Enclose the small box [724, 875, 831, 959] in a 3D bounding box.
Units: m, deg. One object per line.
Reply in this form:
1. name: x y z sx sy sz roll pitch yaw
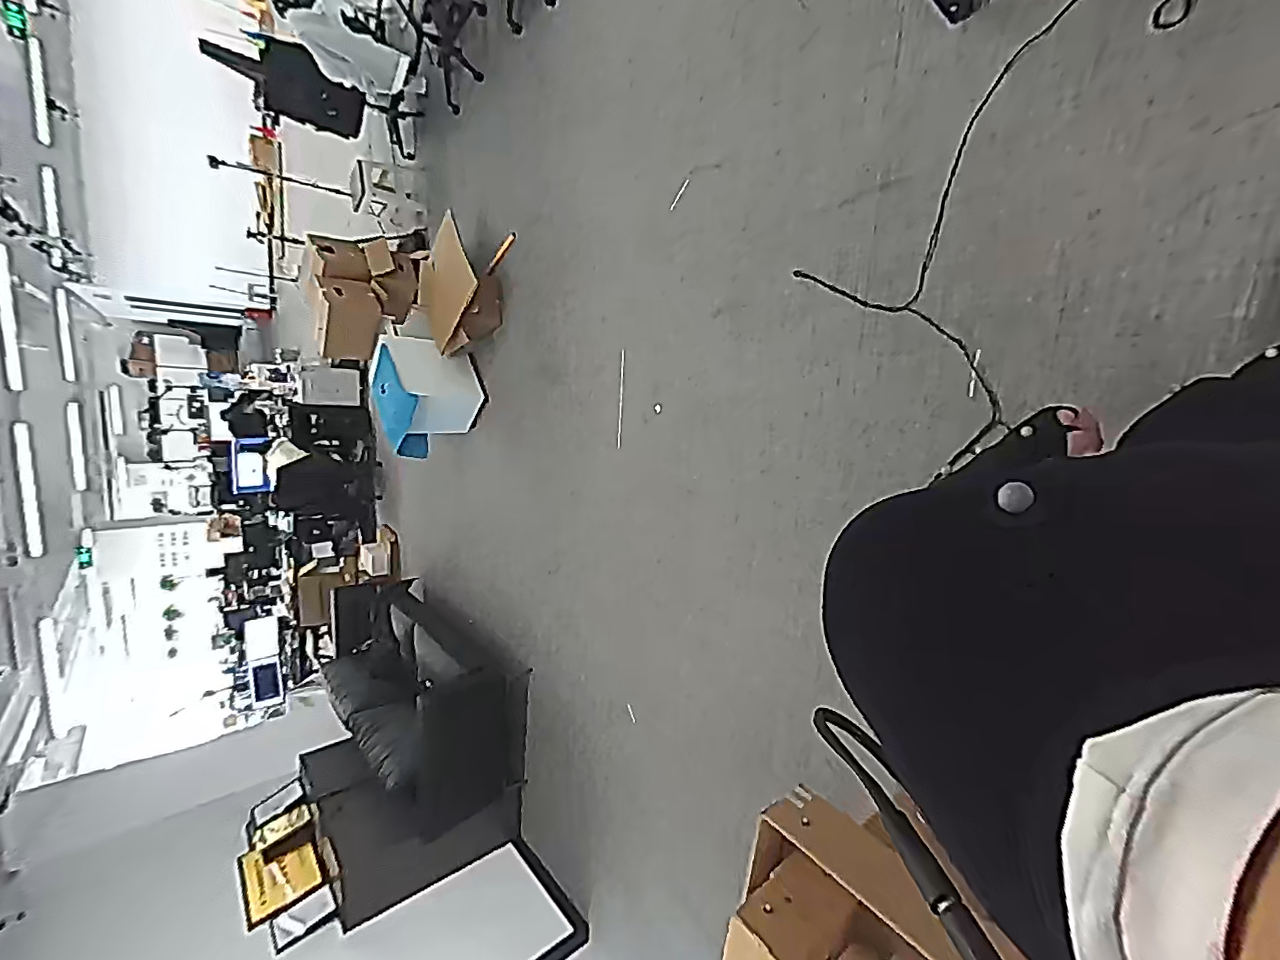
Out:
1. small box: 0.324 1.088 1.265 0.168 0.176 0.179 22 110 47
